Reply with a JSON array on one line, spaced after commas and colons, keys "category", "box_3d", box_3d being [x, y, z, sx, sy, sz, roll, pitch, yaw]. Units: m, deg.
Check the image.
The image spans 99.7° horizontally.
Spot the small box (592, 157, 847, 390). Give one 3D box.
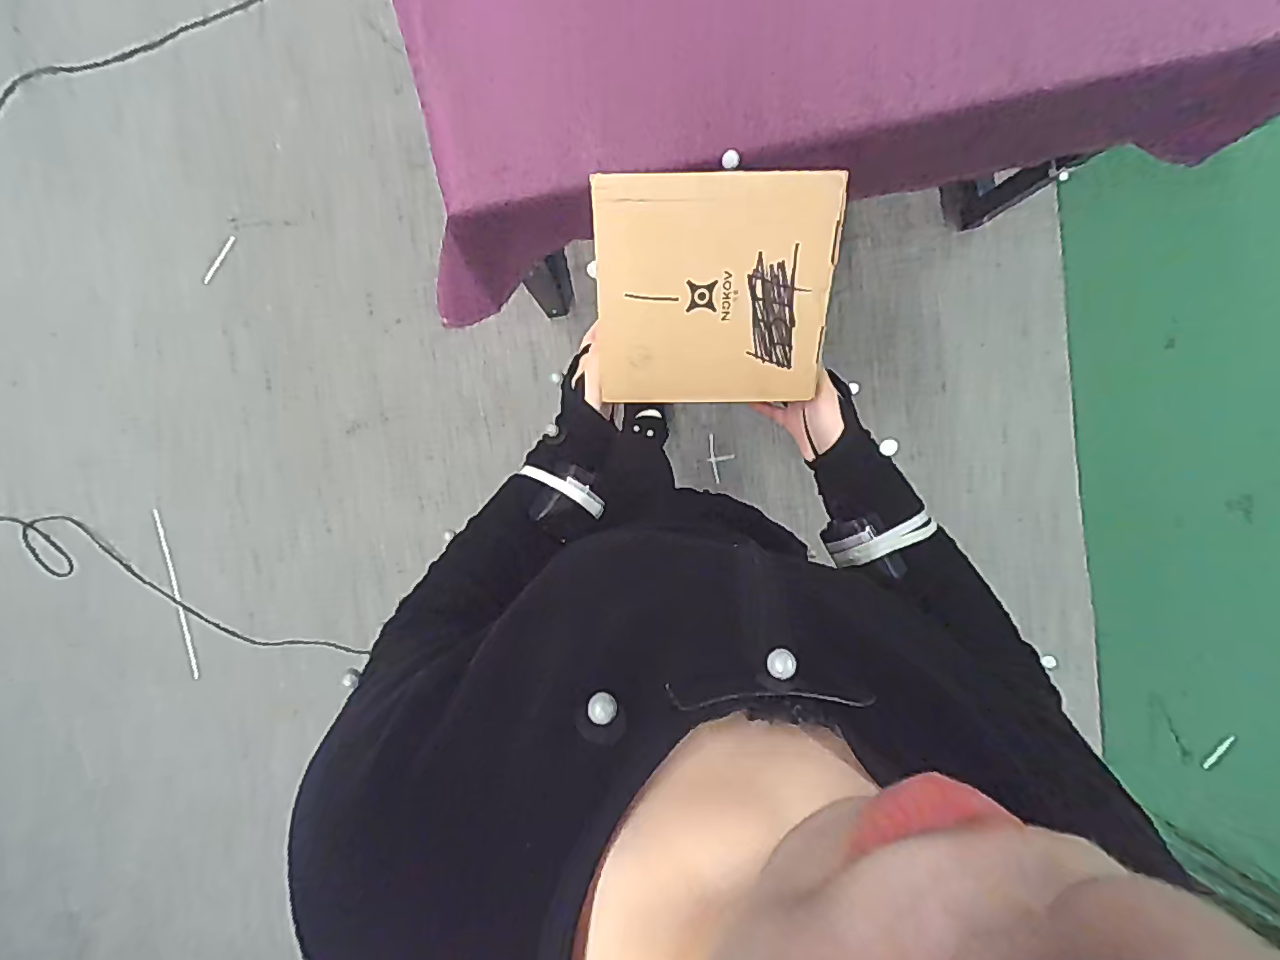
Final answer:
[{"category": "small box", "box_3d": [0.055, -0.185, 0.470, 0.179, 0.176, 0.168, 0, 119, 2]}]
